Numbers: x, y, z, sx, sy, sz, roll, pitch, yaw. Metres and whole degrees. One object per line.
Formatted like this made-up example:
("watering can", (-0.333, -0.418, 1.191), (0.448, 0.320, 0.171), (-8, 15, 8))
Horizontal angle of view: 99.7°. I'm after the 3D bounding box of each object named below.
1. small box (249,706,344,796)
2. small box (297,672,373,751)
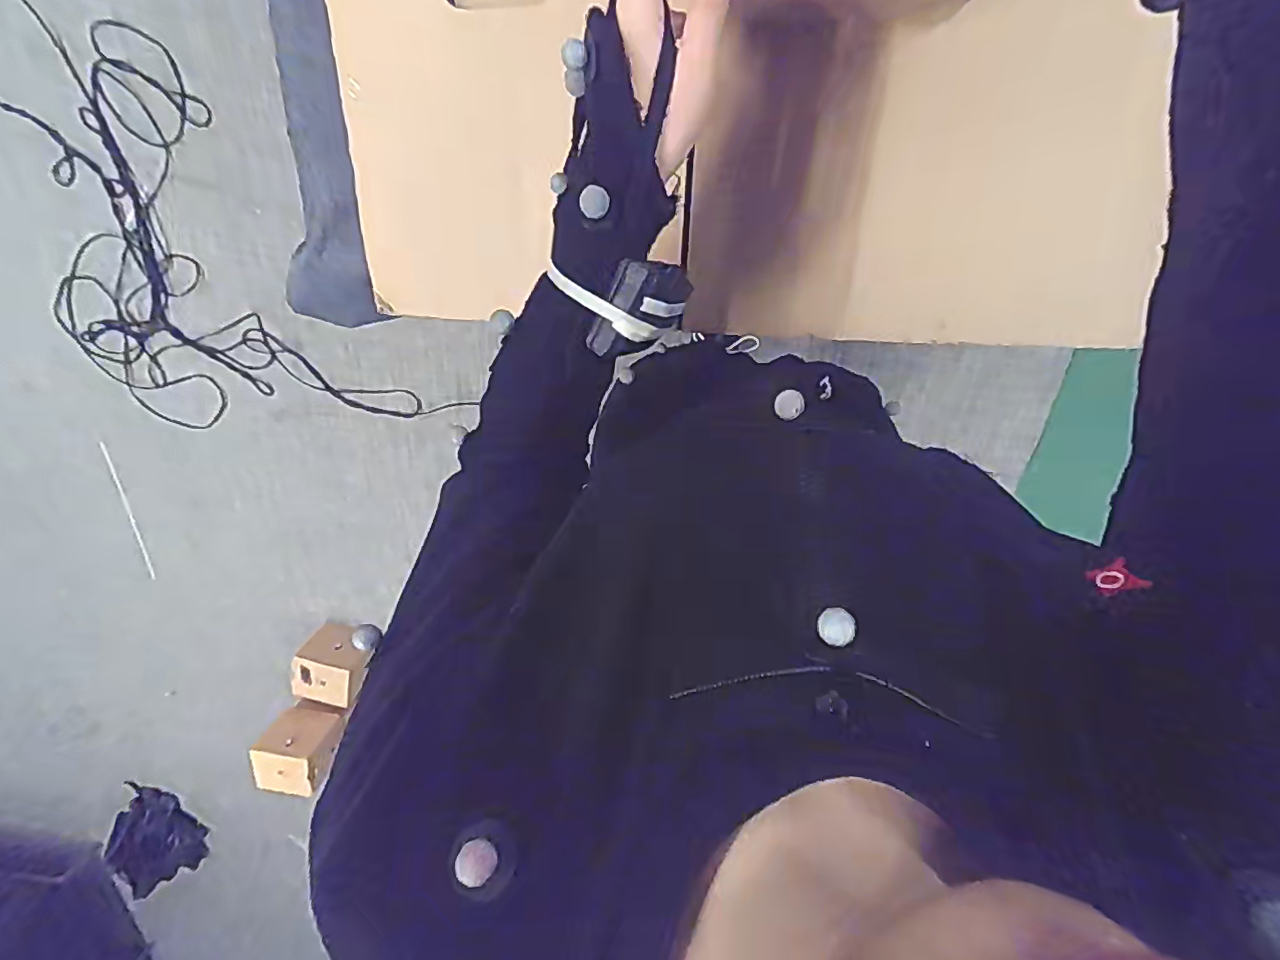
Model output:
("small box", (-1.043, 0.823, 1.655), (0.179, 0.176, 0.168), (9, 114, 1))
("small box", (-1.015, 0.770, 1.808), (0.179, 0.176, 0.168), (9, 115, 1))
